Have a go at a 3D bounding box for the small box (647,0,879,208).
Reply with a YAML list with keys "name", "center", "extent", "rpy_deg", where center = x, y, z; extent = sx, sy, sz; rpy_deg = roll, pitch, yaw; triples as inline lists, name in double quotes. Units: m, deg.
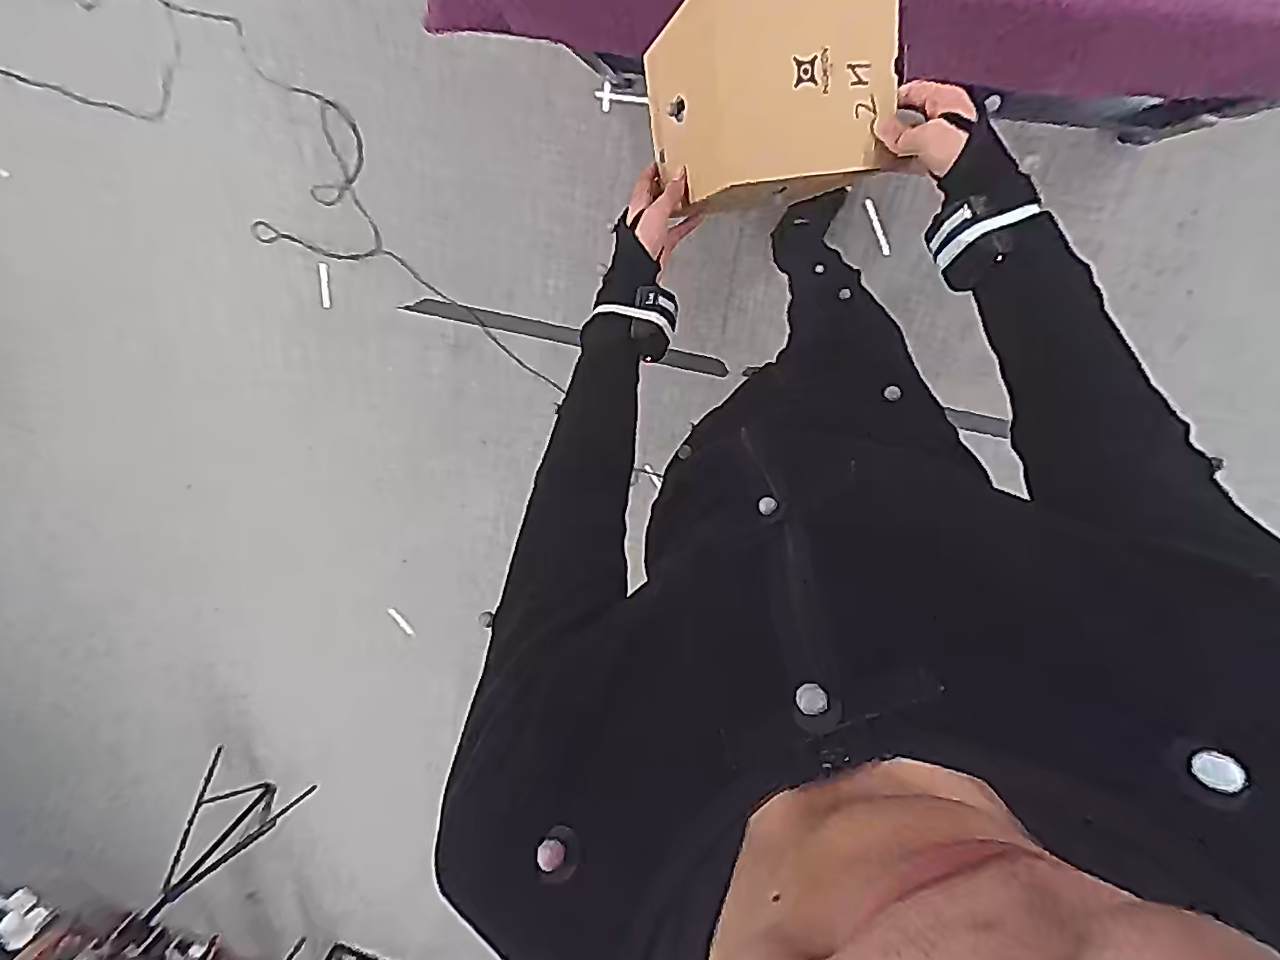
- name: "small box"
  center: [0.116, -0.388, 0.555]
  extent: [0.179, 0.176, 0.168]
  rpy_deg: [-14, 109, -17]
